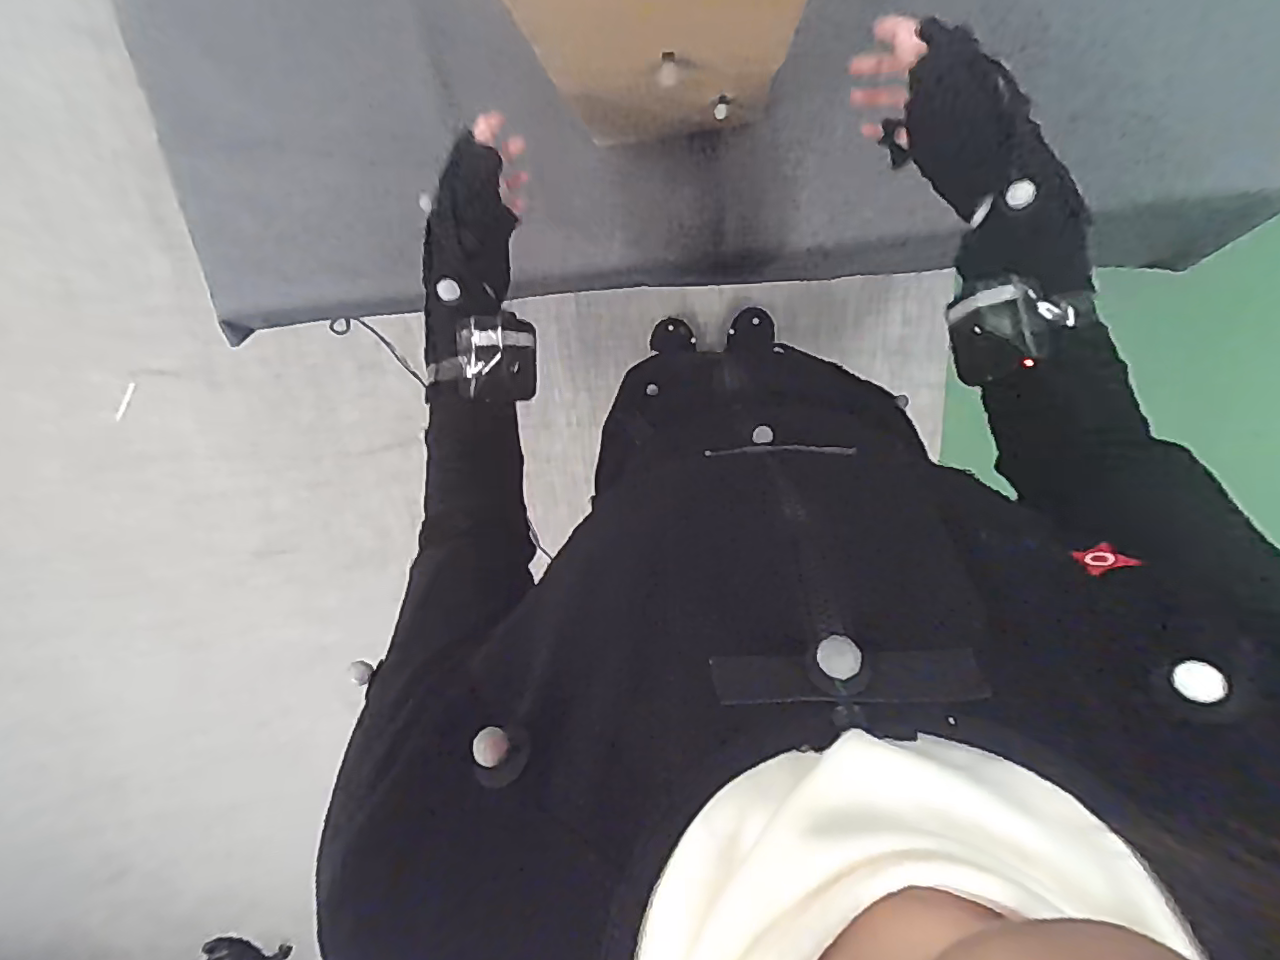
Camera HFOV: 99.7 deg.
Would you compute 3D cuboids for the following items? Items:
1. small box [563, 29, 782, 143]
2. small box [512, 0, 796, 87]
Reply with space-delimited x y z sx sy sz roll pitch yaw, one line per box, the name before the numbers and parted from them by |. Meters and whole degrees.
small box | 0.023 -0.424 0.479 0.179 0.176 0.168 -5 107 9
small box | 0.010 -0.370 0.325 0.179 0.176 0.168 -3 107 6
